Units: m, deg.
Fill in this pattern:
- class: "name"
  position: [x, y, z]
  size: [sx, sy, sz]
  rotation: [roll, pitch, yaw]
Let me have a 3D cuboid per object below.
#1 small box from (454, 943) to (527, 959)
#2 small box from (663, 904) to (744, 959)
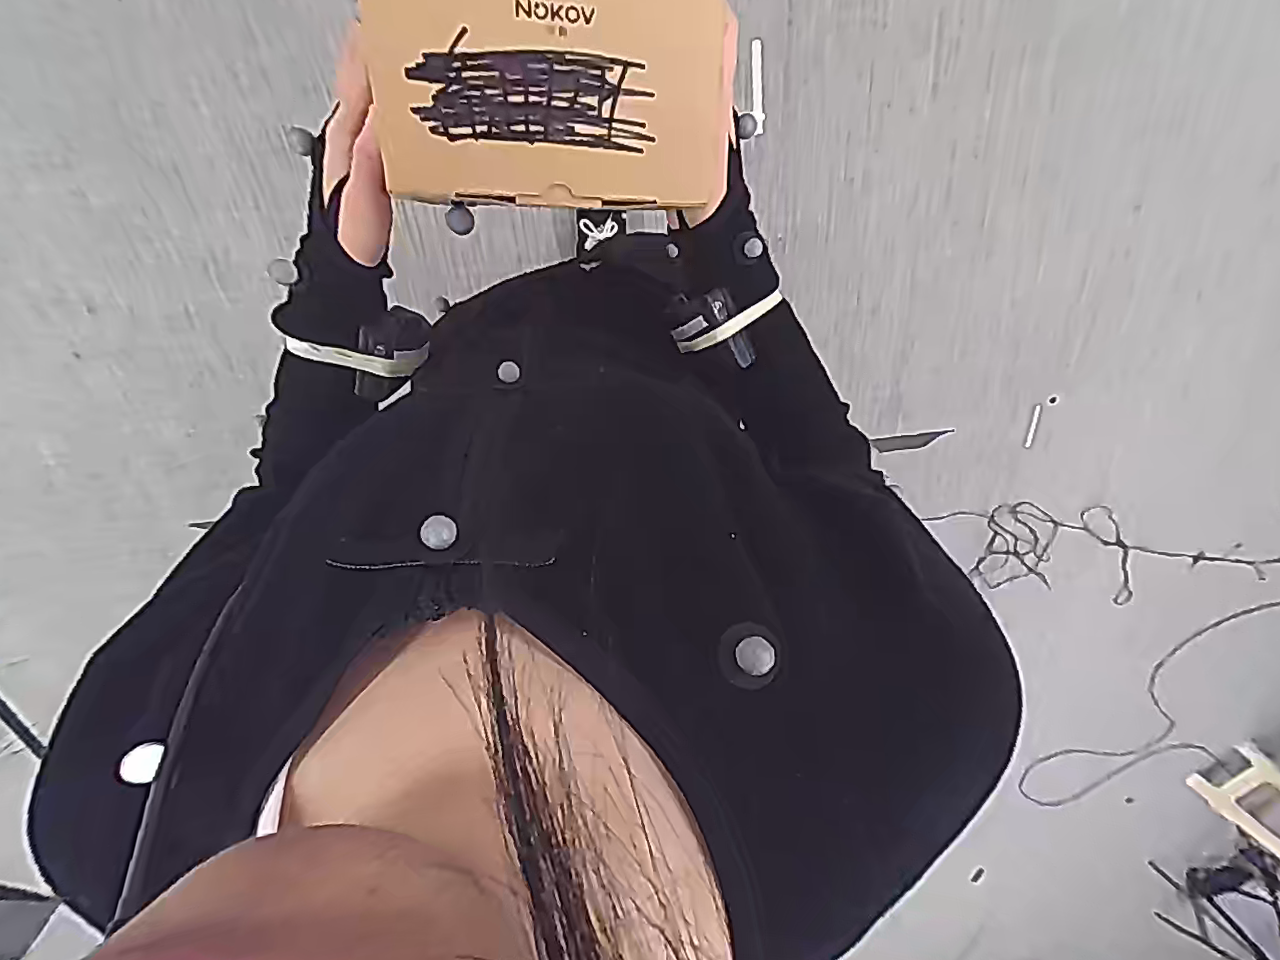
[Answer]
- class: "small box"
  position: [-0.346, 1.212, 1.241]
  size: [0.168, 0.176, 0.179]
  rotation: [-3, 117, -8]
- class: "small box"
  position: [0.150, 1.135, 1.274]
  size: [0.168, 0.176, 0.179]
  rotation: [-6, 117, -5]
